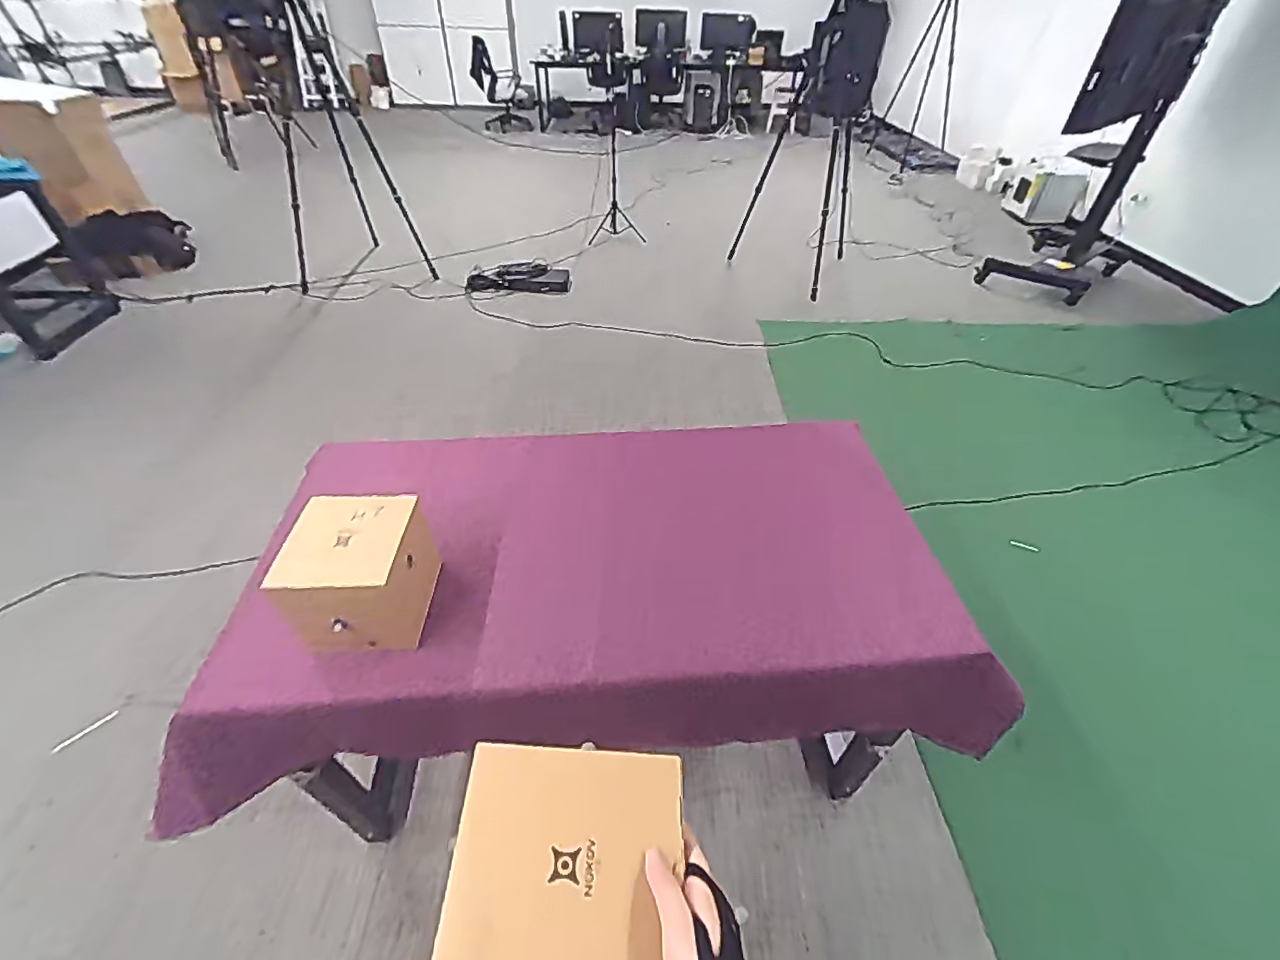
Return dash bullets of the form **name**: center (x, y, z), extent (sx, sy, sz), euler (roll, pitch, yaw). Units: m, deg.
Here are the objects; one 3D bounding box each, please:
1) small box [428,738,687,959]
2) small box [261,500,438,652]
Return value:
- **small box**: center (-0.063, 0.339, 0.459), extent (0.179, 0.176, 0.168), euler (7, 45, -6)
- **small box**: center (-0.426, 0.150, 0.834), extent (0.168, 0.176, 0.179), euler (0, 42, -2)
